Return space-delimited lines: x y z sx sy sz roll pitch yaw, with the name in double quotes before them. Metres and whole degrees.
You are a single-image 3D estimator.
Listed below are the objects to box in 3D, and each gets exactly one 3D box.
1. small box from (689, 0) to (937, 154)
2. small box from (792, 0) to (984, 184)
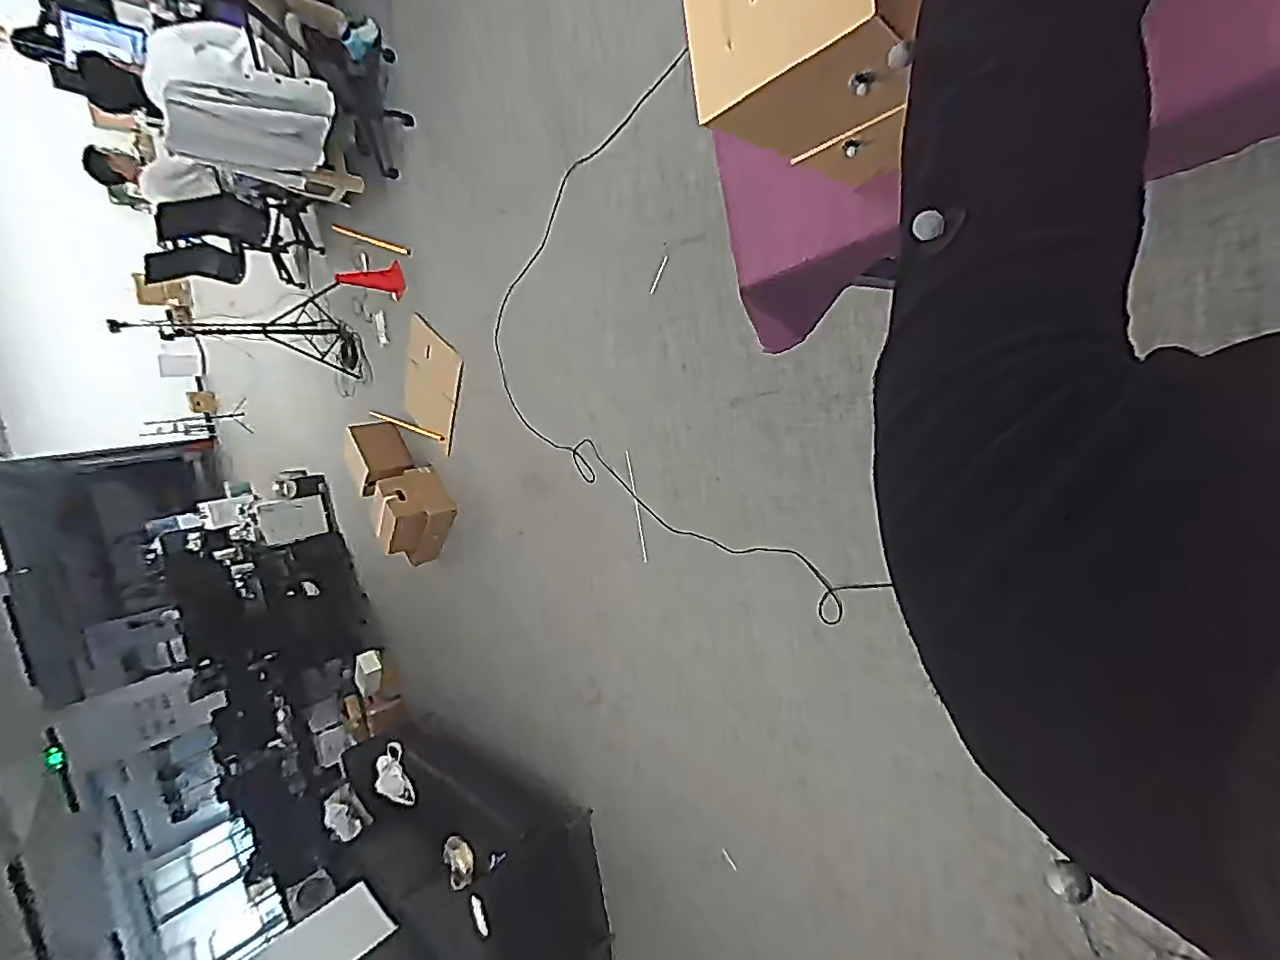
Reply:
"small box" 0.169 -0.448 0.520 0.179 0.176 0.168 -1 101 46
"small box" 0.284 -0.480 0.632 0.168 0.176 0.179 -2 99 46
